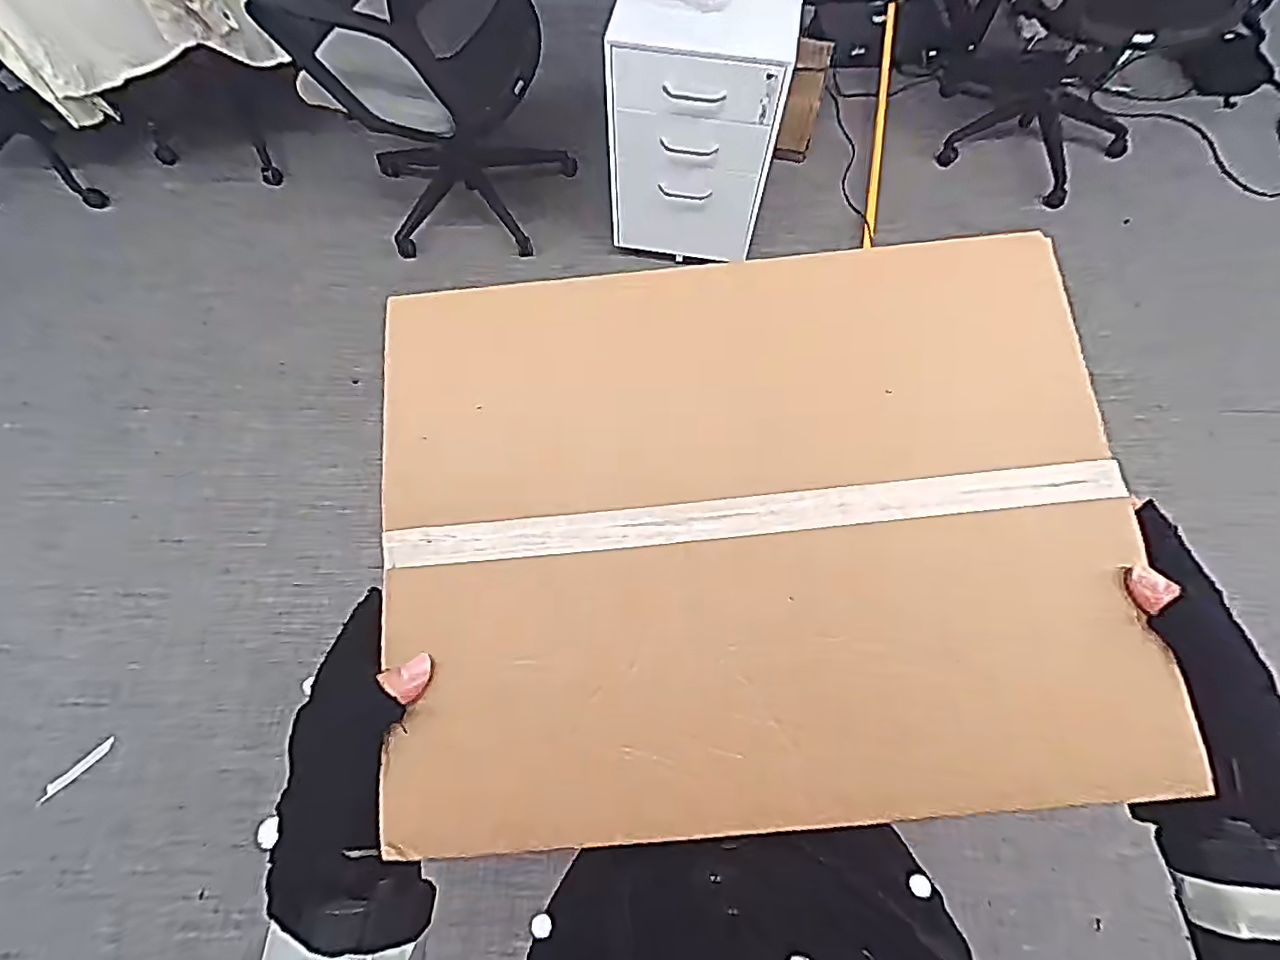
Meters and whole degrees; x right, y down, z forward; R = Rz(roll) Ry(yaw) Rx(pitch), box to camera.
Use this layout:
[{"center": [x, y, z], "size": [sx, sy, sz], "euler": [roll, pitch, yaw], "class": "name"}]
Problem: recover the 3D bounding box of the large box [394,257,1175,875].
[{"center": [0.066, 0.063, 0.450], "size": [0.408, 0.320, 0.320], "euler": [-6, 76, 1], "class": "large box"}]
